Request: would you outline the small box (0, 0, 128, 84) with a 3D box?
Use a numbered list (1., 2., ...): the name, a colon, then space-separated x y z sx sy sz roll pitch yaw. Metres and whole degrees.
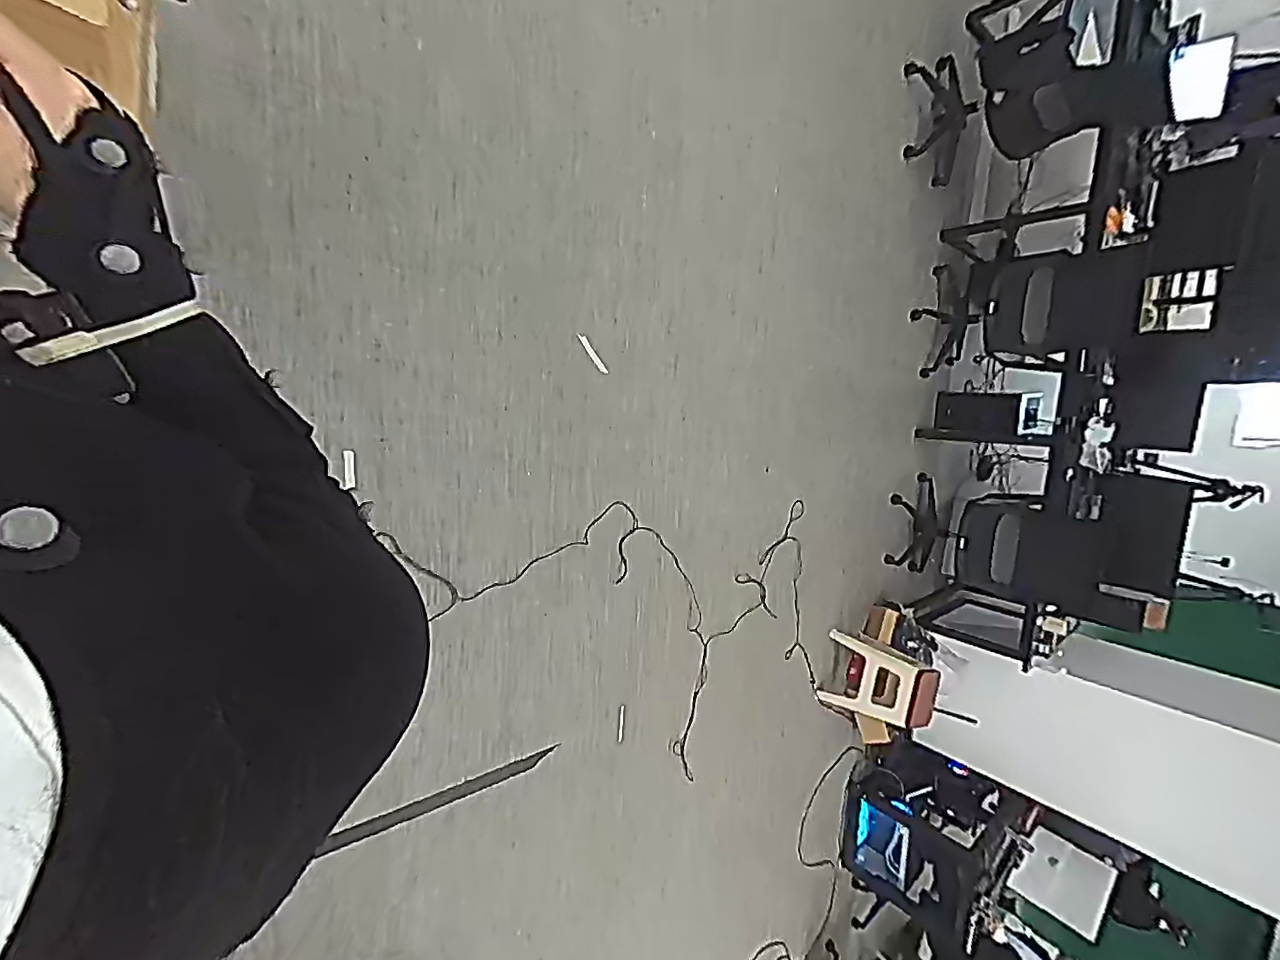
1. small box: -0.603 -0.518 0.504 0.179 0.176 0.168 6 96 -44
